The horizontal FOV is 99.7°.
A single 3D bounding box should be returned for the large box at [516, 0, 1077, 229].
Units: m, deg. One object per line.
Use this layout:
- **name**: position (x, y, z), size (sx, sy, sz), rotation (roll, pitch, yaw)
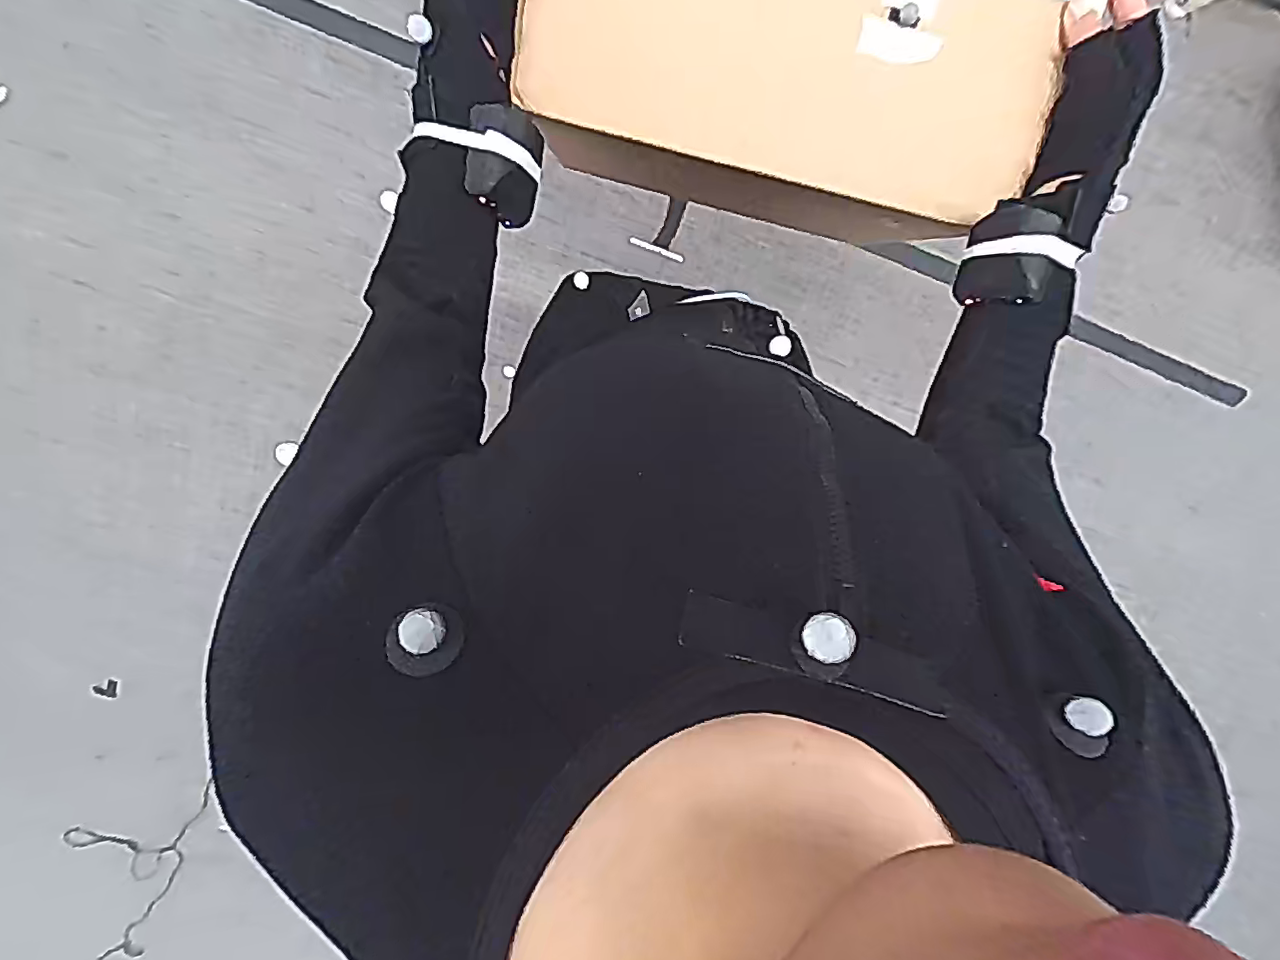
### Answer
- **large box**: position (0.122, -0.449, 0.510), size (0.408, 0.320, 0.320), rotation (11, 113, -6)
